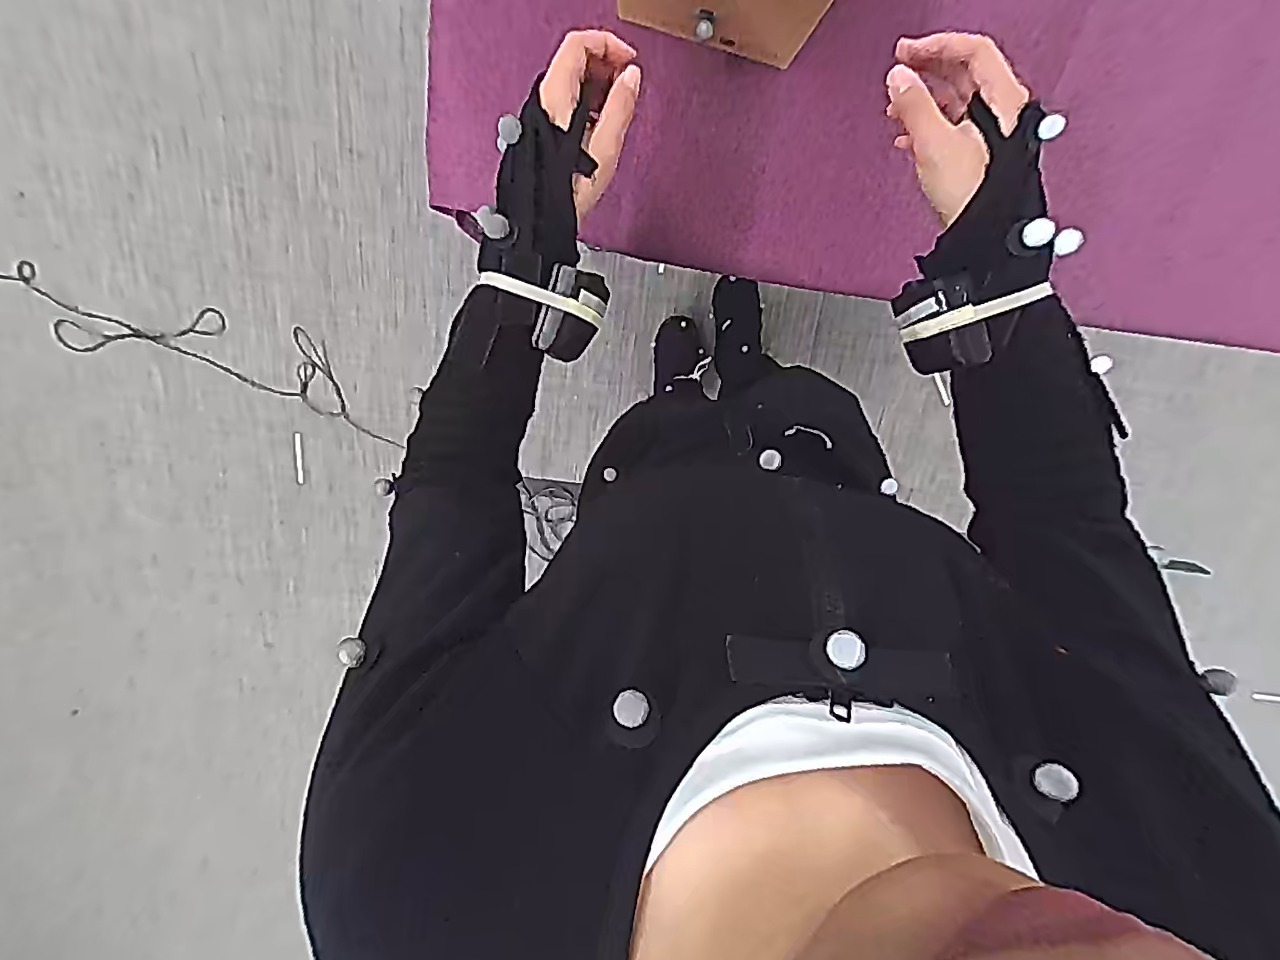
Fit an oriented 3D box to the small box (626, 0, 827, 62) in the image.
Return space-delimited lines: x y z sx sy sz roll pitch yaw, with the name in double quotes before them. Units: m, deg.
"small box" 0.080 -0.463 0.402 0.168 0.176 0.179 13 109 -5
